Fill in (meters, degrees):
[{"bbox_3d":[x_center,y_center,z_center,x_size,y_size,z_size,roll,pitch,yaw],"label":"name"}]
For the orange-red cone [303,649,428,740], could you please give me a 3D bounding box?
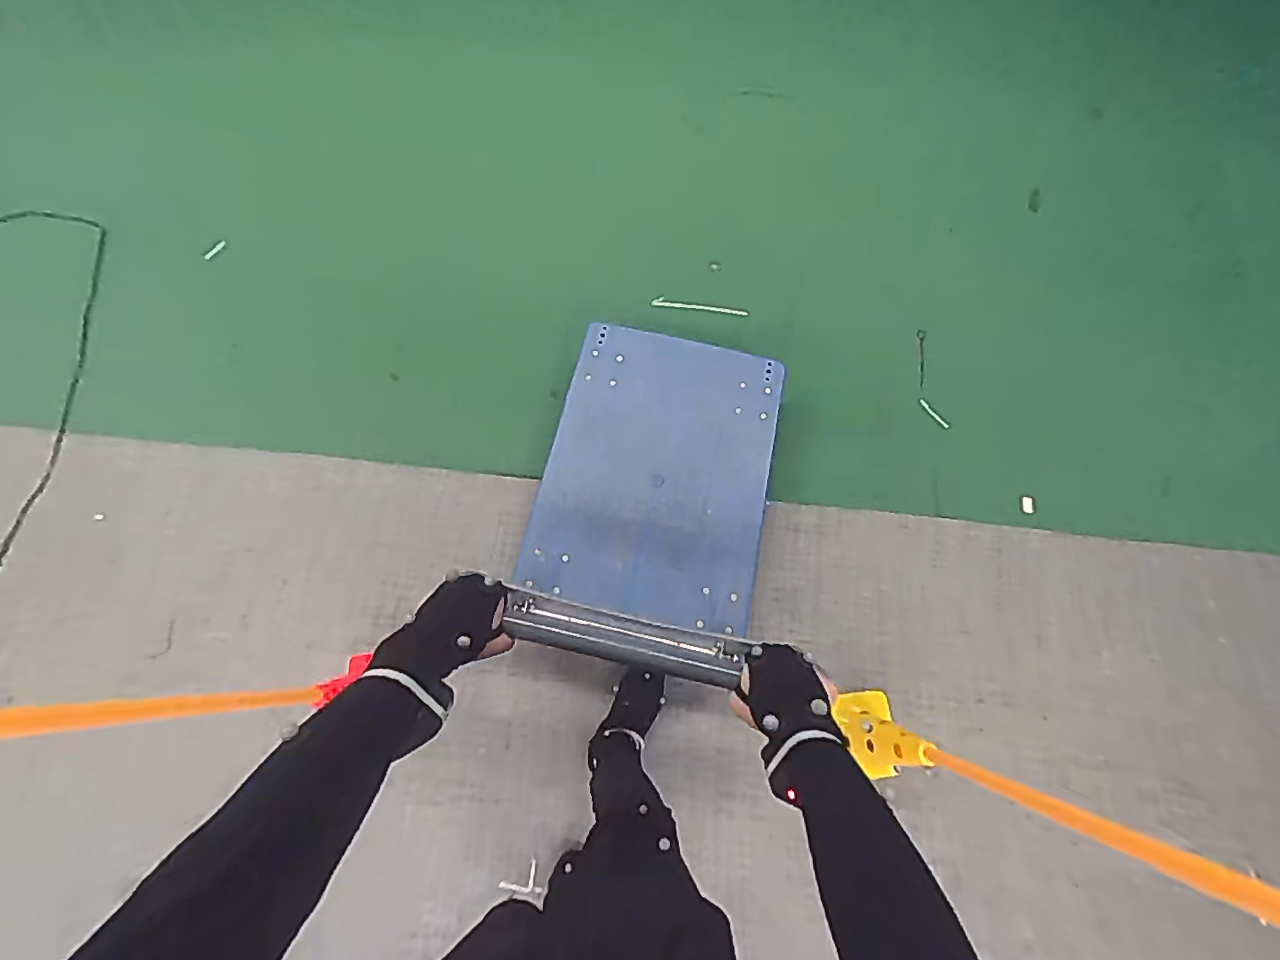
[{"bbox_3d":[-0.628,0.475,1.188,0.199,0.360,0.198,-8,70,-4],"label":"orange-red cone"}]
